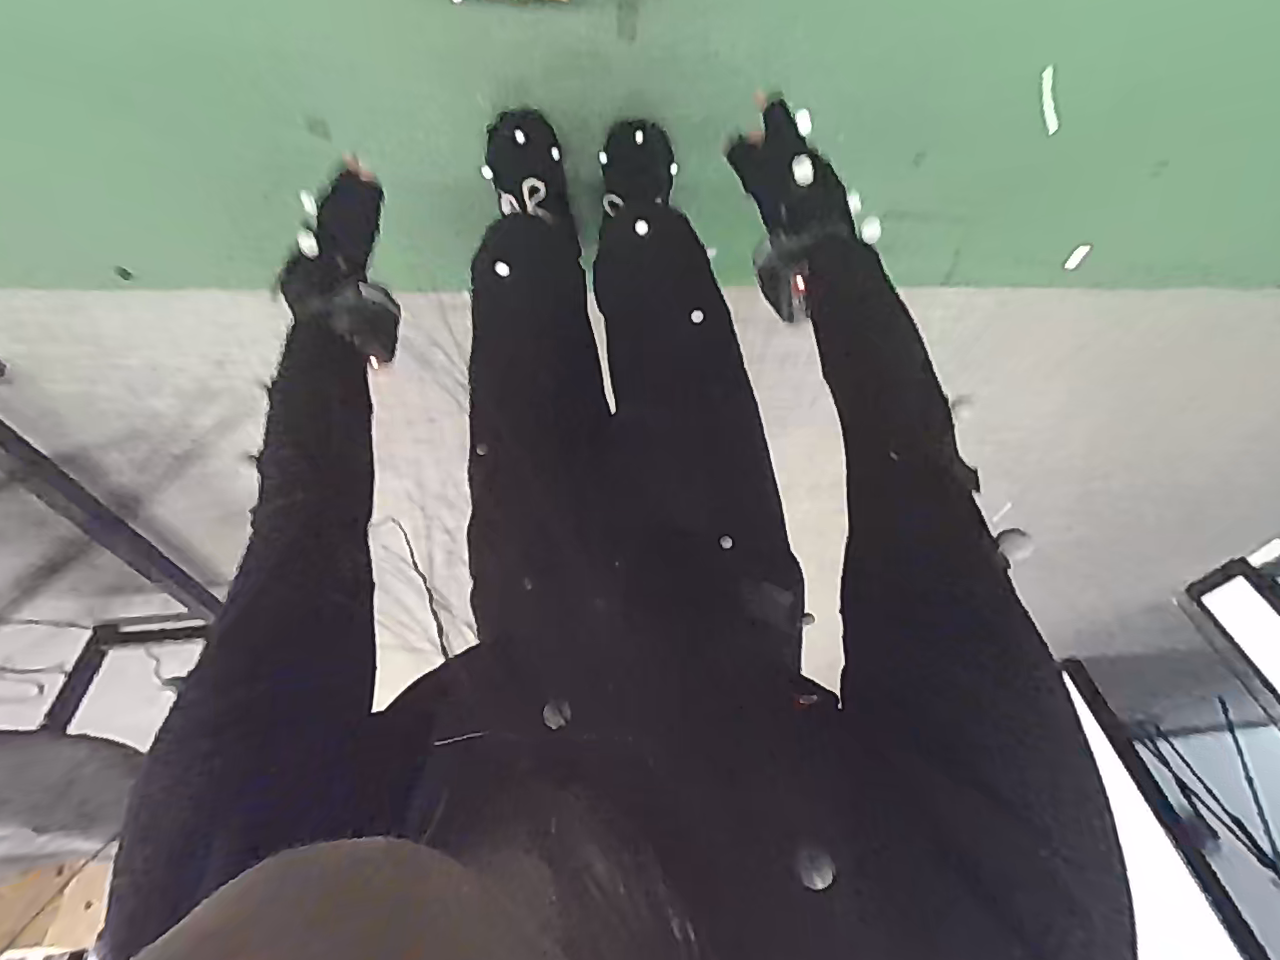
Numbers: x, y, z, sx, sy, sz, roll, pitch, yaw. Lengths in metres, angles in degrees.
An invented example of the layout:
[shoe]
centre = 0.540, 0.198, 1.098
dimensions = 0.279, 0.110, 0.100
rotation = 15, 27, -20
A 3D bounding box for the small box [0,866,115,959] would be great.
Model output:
[small box]
centre = -1.399, 1.012, 1.257
dimensions = 0.168, 0.176, 0.179
rotation = -1, 140, -8
